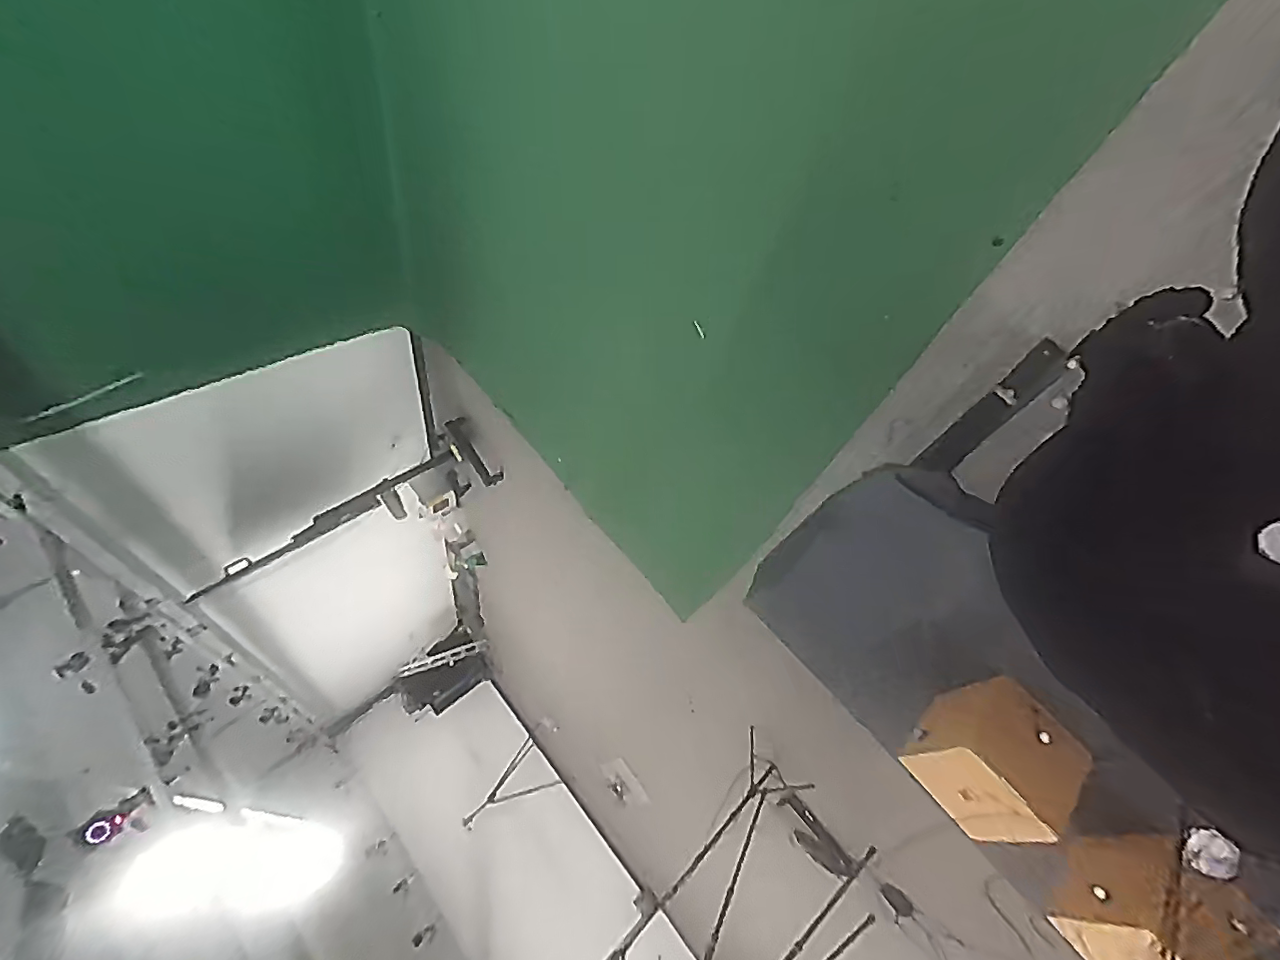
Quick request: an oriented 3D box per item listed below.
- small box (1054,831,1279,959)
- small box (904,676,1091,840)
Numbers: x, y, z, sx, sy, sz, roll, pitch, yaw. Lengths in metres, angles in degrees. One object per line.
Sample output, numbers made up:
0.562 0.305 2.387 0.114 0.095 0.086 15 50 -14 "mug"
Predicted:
0.791 0.663 0.814 0.168 0.176 0.179 47 147 16 "small box"
0.592 0.458 0.899 0.168 0.176 0.179 47 147 16 "small box"
